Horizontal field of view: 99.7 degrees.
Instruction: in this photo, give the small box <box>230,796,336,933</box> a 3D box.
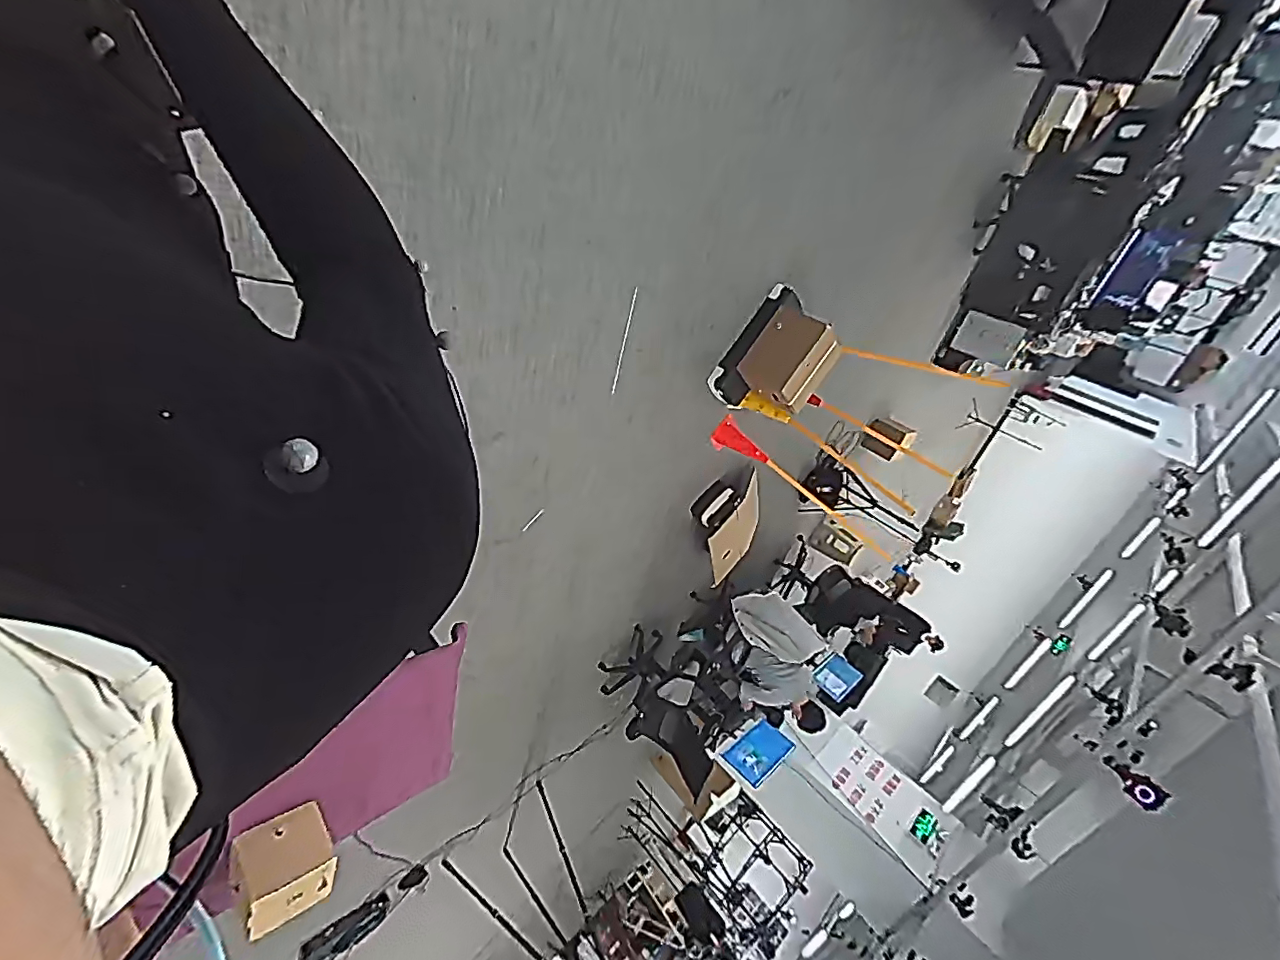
[{"bbox_3d":[-0.867,0.918,1.306,0.179,0.176,0.168,-6,126,-48],"label":"small box"}]
